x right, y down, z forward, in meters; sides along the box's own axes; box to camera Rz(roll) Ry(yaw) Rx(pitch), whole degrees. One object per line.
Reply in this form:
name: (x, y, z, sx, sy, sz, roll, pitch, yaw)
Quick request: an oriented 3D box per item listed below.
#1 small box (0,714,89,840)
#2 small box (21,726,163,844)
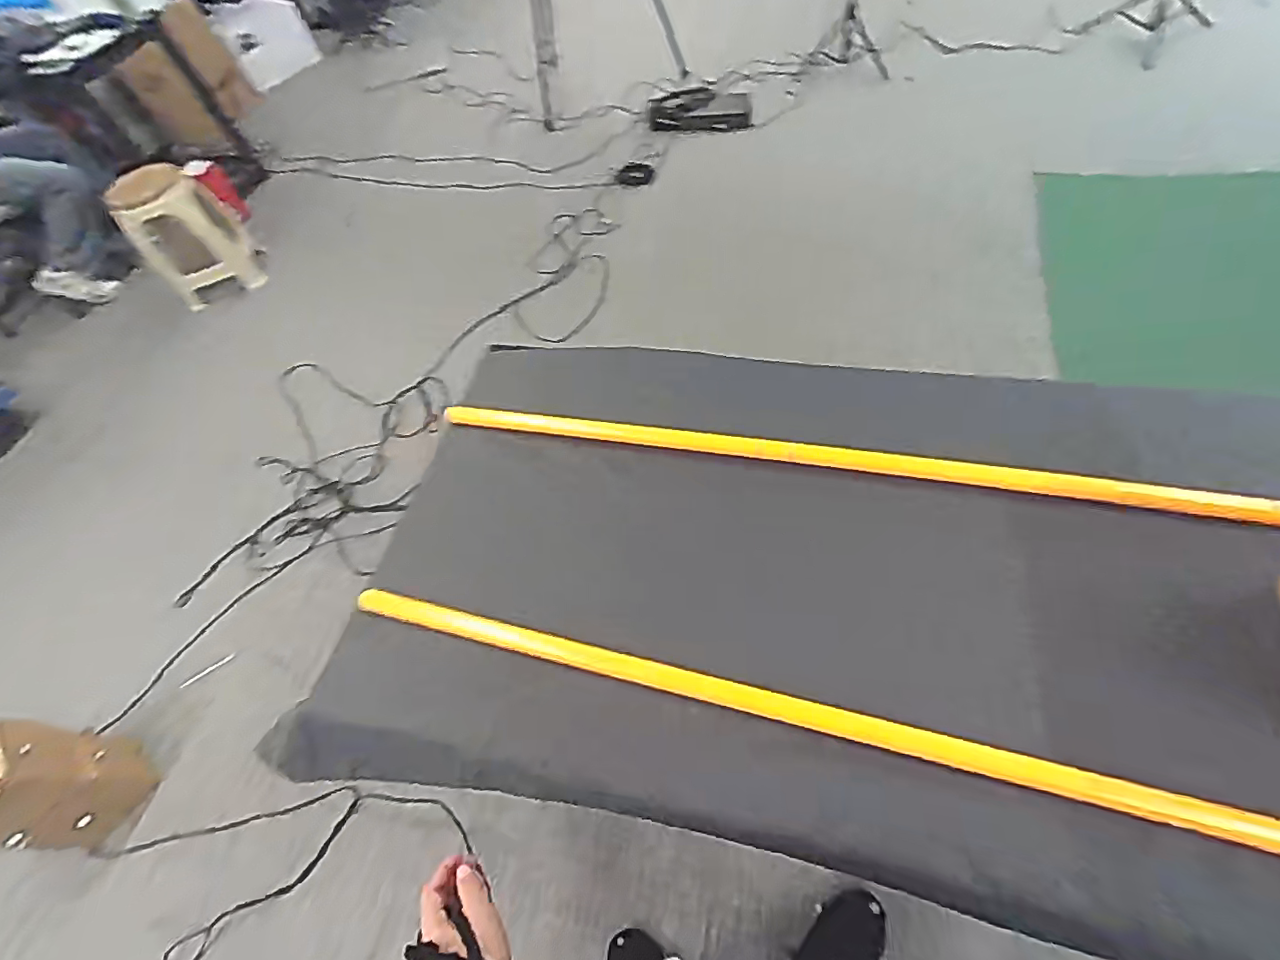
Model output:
small box: (-1.336, 0.630, 1.144, 0.179, 0.176, 0.168, 33, 67, 28)
small box: (-1.302, 0.721, 1.277, 0.168, 0.176, 0.179, 28, 66, 25)
